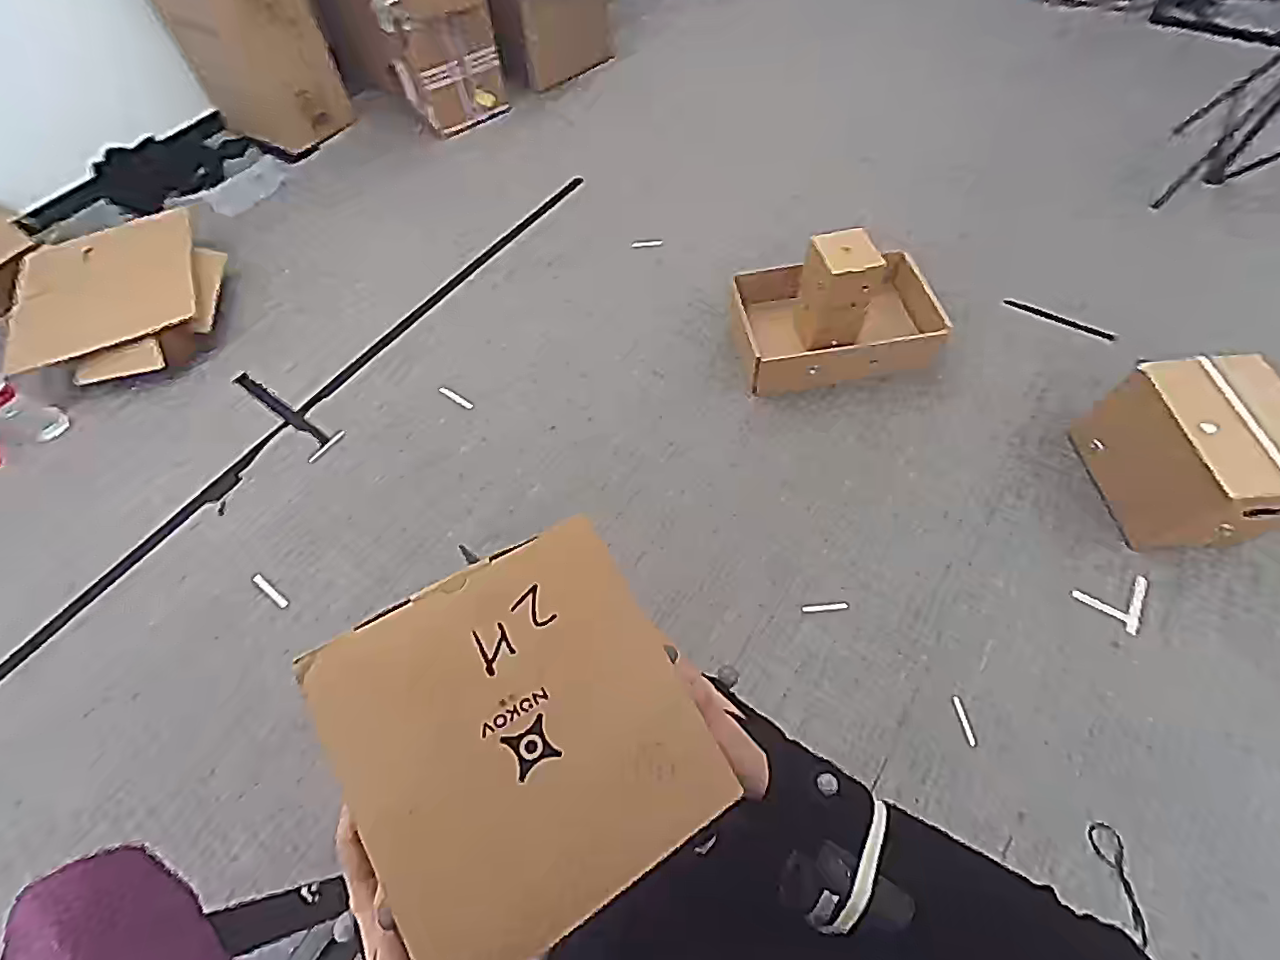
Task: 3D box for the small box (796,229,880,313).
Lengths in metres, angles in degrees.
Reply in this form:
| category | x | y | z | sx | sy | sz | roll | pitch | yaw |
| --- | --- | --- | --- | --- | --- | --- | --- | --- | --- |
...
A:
| category | x | y | z | sx | sy | sz | roll | pitch | yaw |
| --- | --- | --- | --- | --- | --- | --- | --- | --- | --- |
| small box | 0.599 | -0.632 | 1.657 | 0.168 | 0.176 | 0.179 | -12 | 60 | -5 |

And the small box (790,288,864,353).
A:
| category | x | y | z | sx | sy | sz | roll | pitch | yaw |
| --- | --- | --- | --- | --- | --- | --- | --- | --- | --- |
| small box | 0.614 | -0.551 | 1.798 | 0.168 | 0.176 | 0.179 | -9 | 61 | -2 |

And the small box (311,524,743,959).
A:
| category | x | y | z | sx | sy | sz | roll | pitch | yaw |
| --- | --- | --- | --- | --- | --- | --- | --- | --- | --- |
| small box | -0.068 | 0.156 | 0.350 | 0.168 | 0.176 | 0.179 | -26 | 77 | -20 |
